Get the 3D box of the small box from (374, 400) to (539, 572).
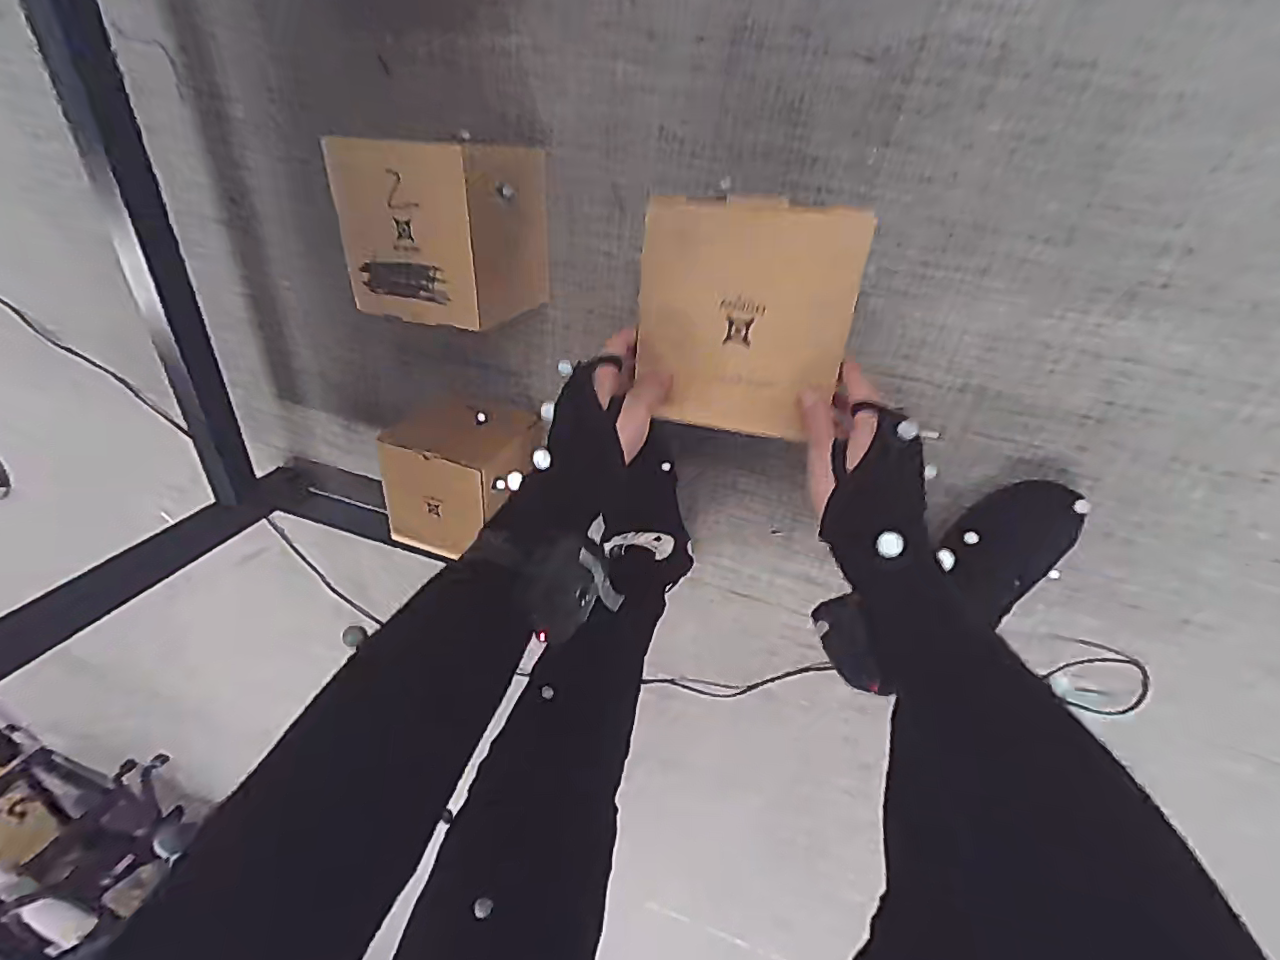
[{"bbox_3d":[-0.262,0.002,0.814,0.168,0.176,0.179,15,122,13],"label":"small box"}]
